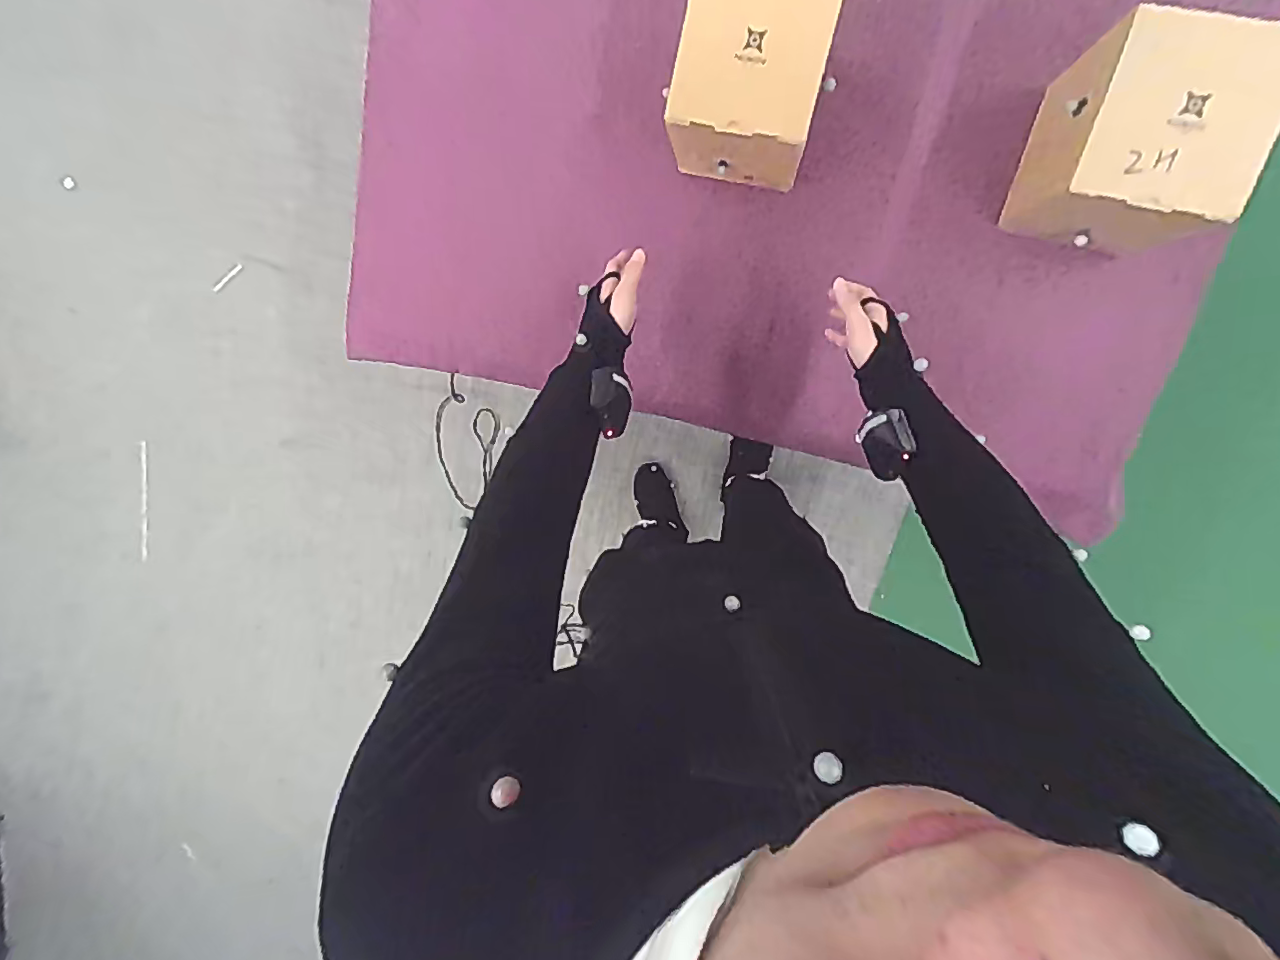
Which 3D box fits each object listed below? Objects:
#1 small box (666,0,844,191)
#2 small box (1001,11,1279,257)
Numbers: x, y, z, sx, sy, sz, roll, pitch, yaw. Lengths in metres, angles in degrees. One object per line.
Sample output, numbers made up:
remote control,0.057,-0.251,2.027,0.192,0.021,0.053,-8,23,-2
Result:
small box,0.137,-0.491,0.674,0.168,0.176,0.179,14,105,6
small box,0.560,-0.378,0.623,0.168,0.176,0.179,16,104,7
